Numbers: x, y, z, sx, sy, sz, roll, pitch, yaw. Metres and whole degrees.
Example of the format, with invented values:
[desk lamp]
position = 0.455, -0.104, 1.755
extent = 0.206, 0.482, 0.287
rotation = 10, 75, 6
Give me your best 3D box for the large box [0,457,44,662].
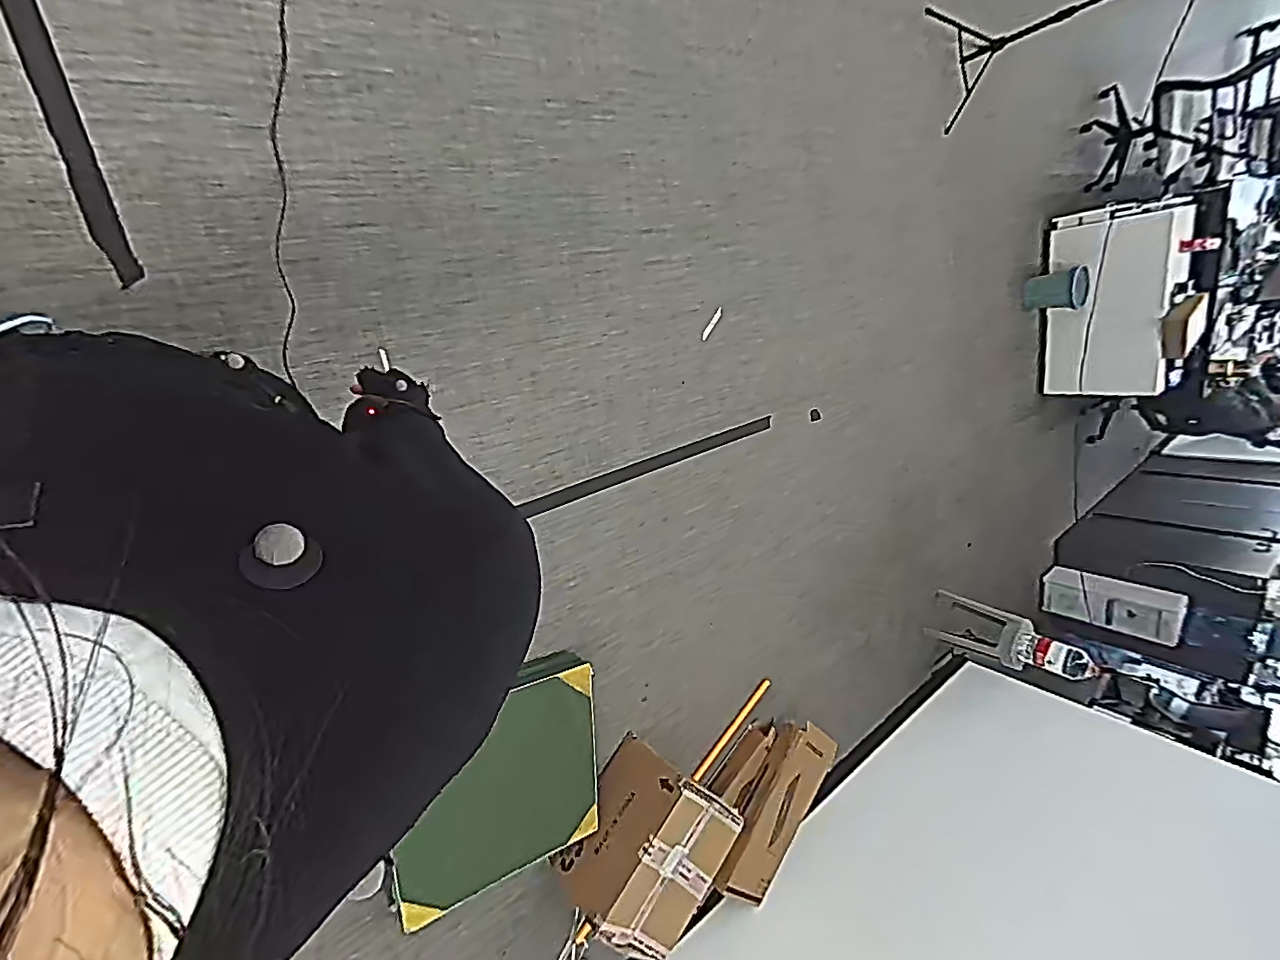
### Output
[large box]
position = -0.913, 0.029, 0.532
extent = 0.320, 0.408, 0.320
rotation = -25, 154, -33
